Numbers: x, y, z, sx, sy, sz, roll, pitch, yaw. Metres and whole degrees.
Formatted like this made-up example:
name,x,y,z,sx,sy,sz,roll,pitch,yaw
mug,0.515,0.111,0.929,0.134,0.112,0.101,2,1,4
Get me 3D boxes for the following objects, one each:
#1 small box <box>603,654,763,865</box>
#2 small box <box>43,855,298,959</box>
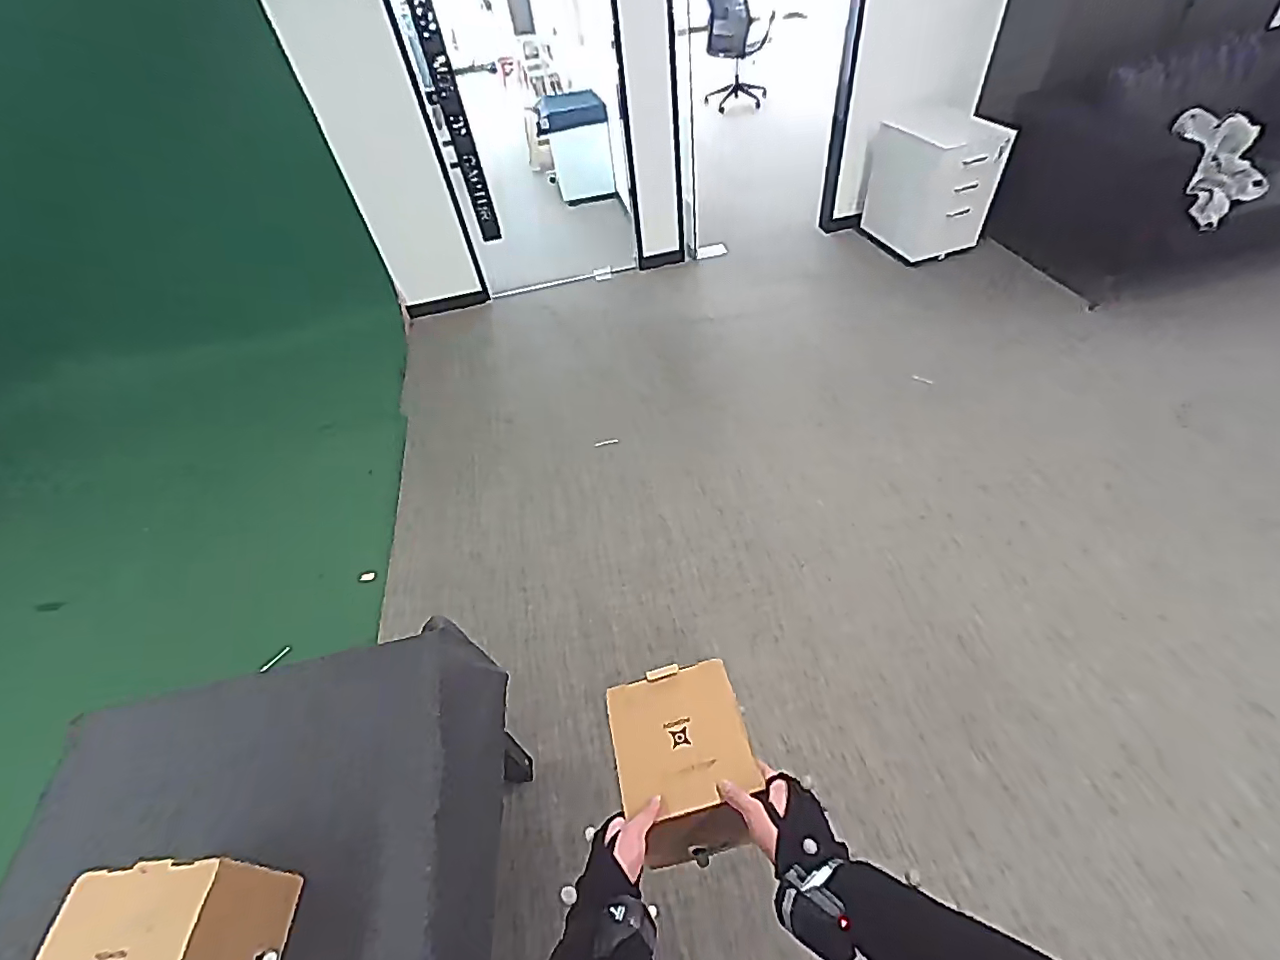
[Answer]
name,x,y,z,sx,sy,sz,roll,pitch,yaw
small box,0.055,0.363,0.707,0.168,0.176,0.179,-14,39,0
small box,-0.533,0.553,0.617,0.168,0.176,0.179,-6,47,2
